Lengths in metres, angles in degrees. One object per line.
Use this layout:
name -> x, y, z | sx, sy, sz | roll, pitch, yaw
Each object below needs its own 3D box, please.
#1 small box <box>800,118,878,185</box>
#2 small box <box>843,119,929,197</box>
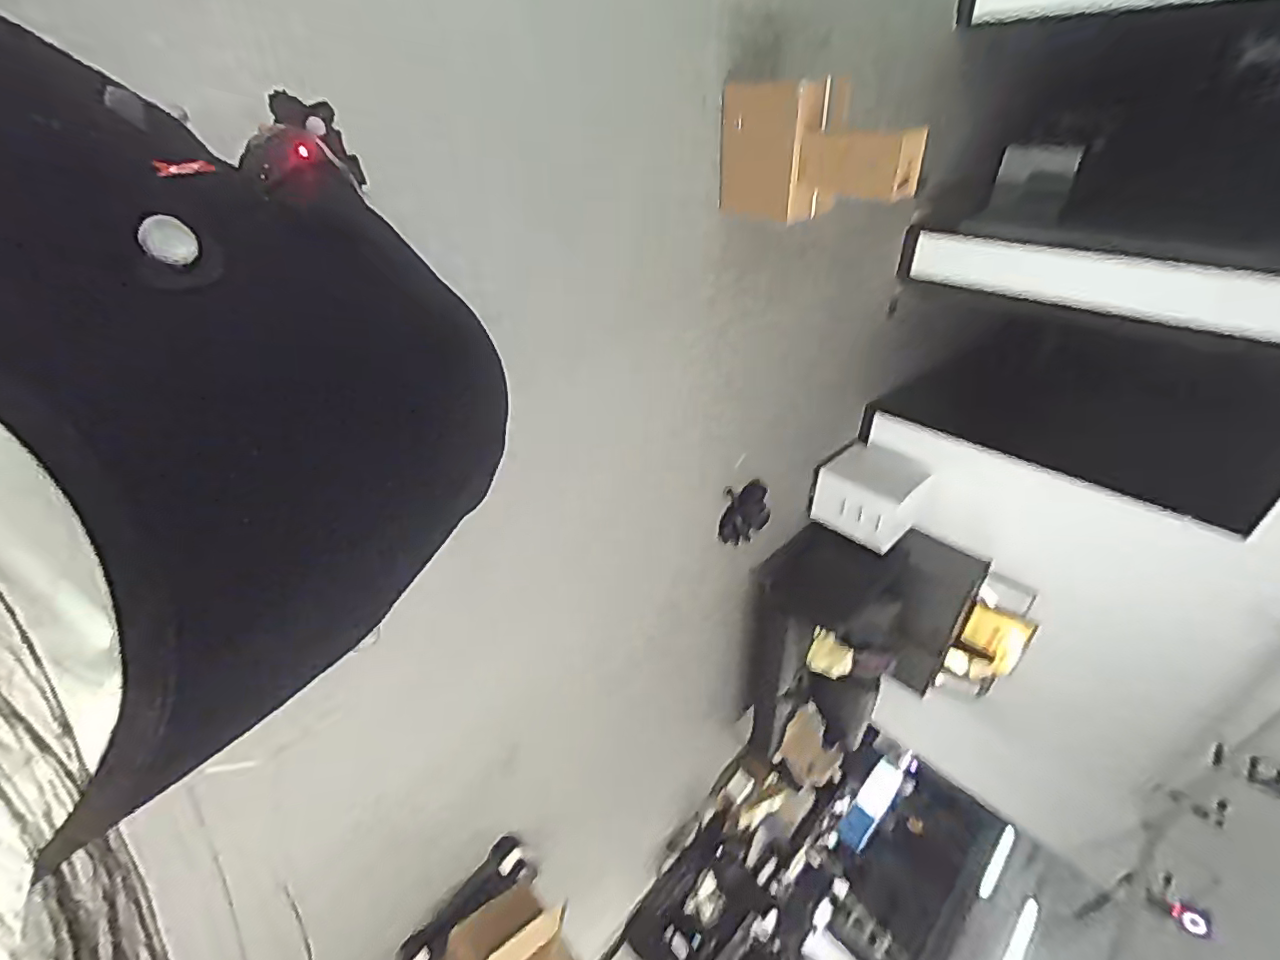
small box -> 0.642, -1.073, 1.764 | 0.179, 0.176, 0.168 | -32, 135, -30
small box -> 0.751, -0.996, 1.666 | 0.168, 0.176, 0.179 | -34, 137, -29
